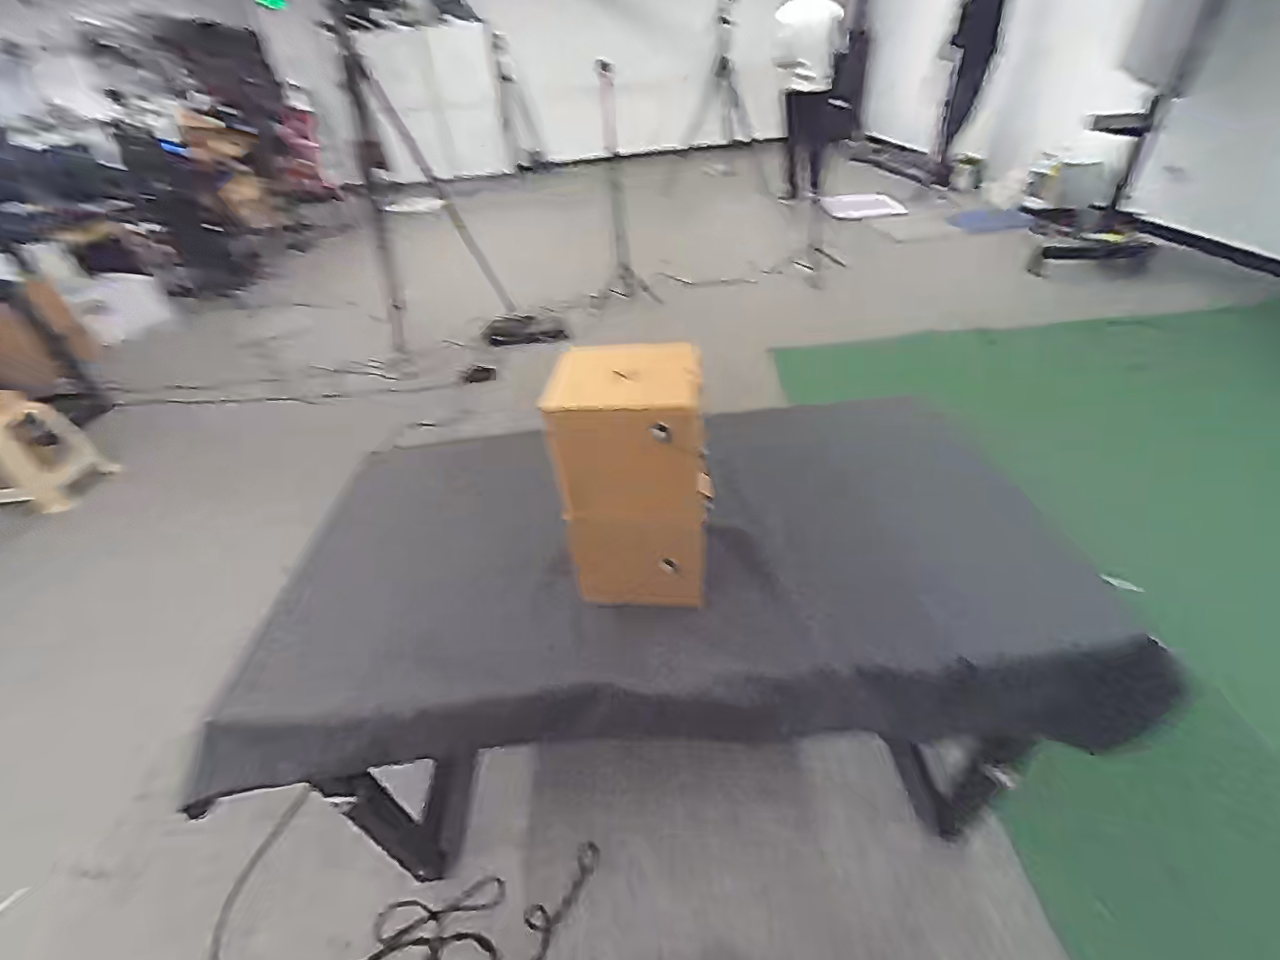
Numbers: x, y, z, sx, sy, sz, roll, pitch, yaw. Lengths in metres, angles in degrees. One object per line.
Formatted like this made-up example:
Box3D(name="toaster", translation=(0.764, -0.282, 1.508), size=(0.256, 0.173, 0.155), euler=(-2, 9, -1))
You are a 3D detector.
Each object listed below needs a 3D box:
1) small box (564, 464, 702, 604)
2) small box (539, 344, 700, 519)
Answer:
Box3D(name="small box", translation=(0.002, 0.068, 0.798), size=(0.179, 0.176, 0.168), euler=(-1, 37, 8))
Box3D(name="small box", translation=(-0.013, -0.062, 0.702), size=(0.179, 0.176, 0.168), euler=(0, 37, 7))
